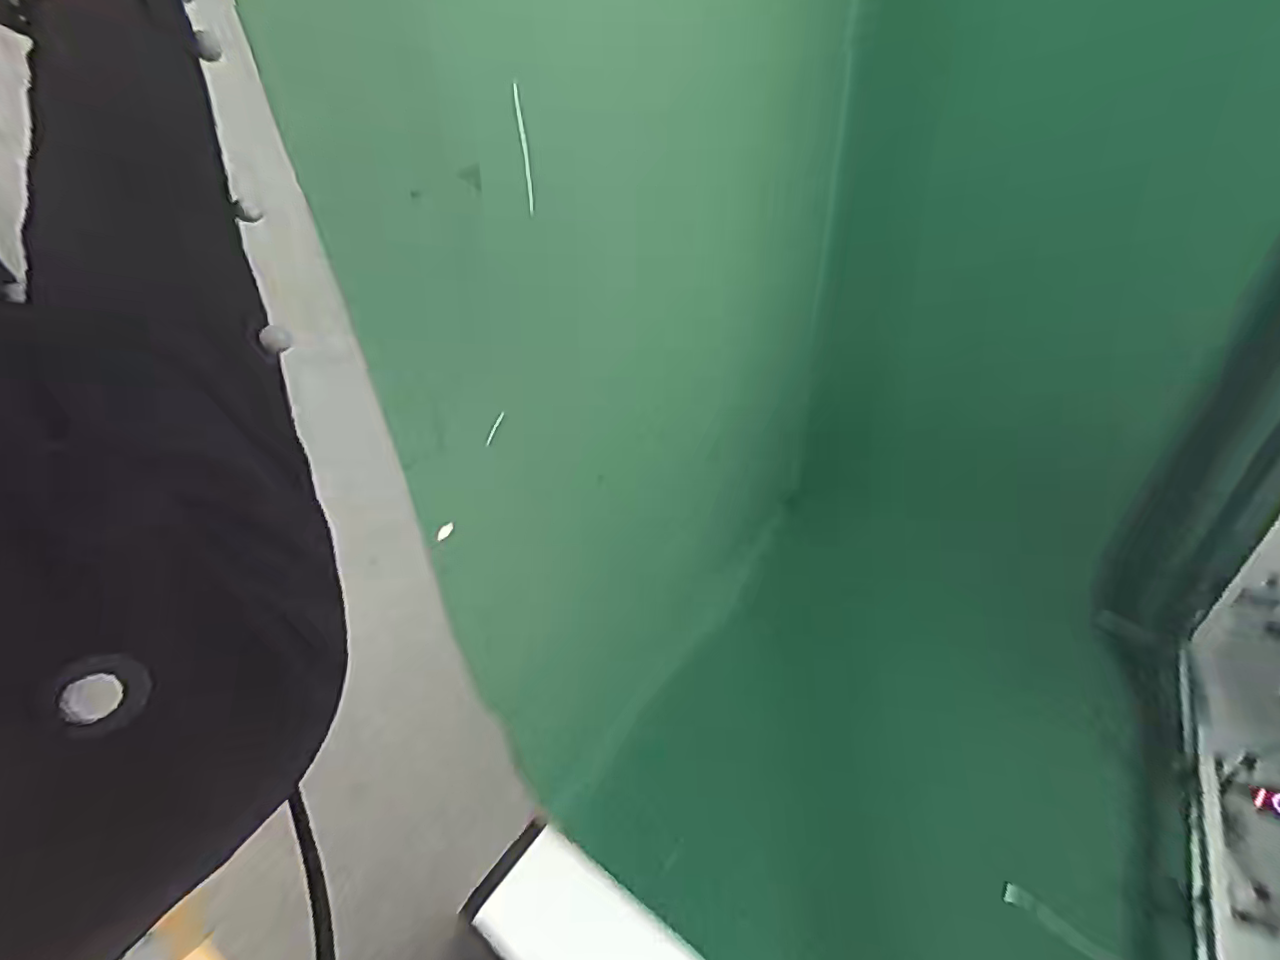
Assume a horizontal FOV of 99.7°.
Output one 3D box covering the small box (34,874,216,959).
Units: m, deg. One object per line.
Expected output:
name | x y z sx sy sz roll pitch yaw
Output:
small box | -0.772 0.760 0.818 0.179 0.176 0.168 -28 131 -46
